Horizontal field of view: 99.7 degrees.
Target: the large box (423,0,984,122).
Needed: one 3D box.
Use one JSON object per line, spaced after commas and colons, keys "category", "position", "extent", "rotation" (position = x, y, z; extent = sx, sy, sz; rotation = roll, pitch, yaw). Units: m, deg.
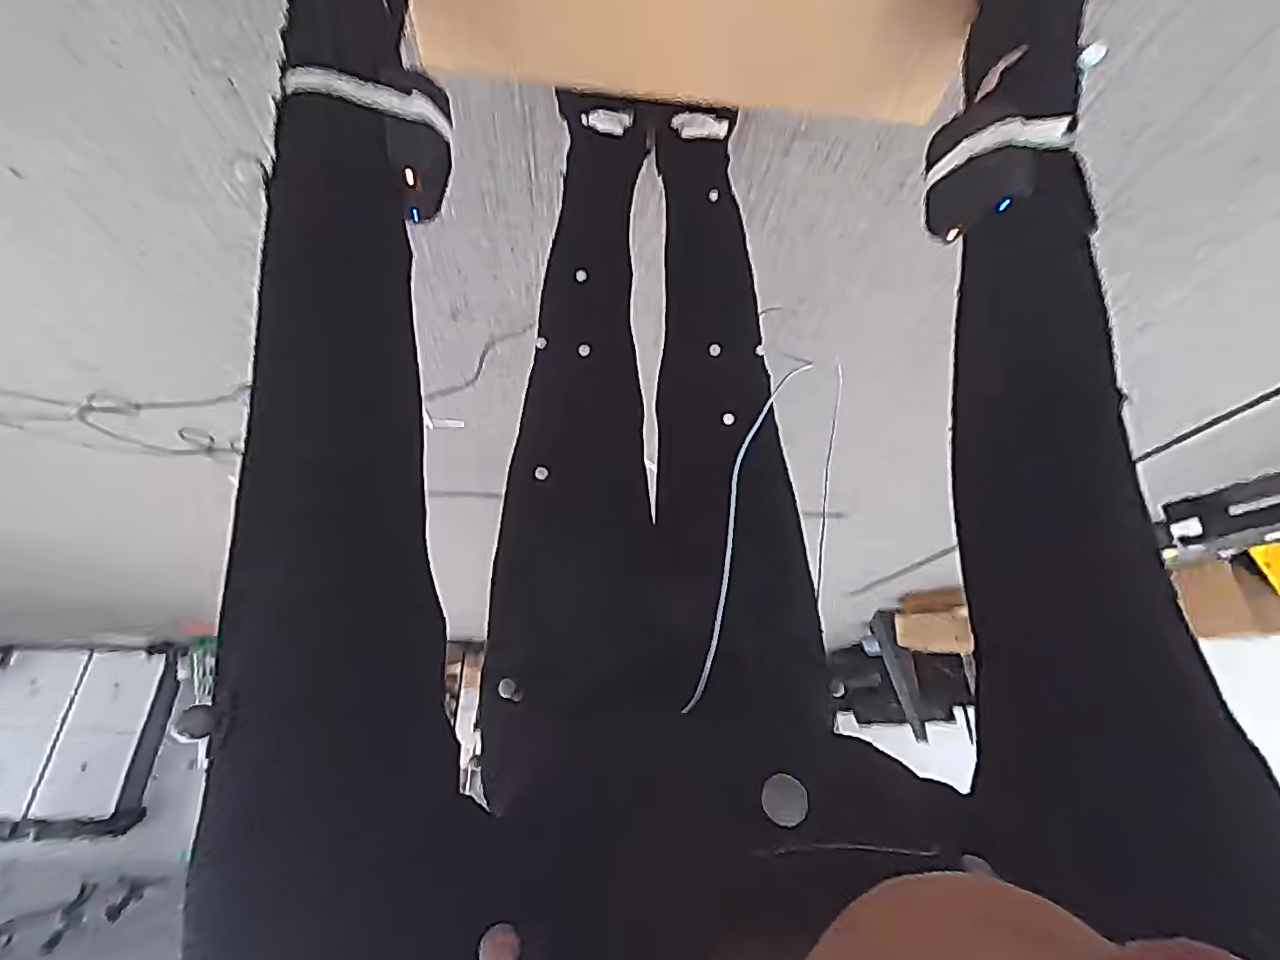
{"category": "large box", "position": [0.049, -0.510, 0.386], "extent": [0.408, 0.320, 0.320], "rotation": [2, 148, -6]}
